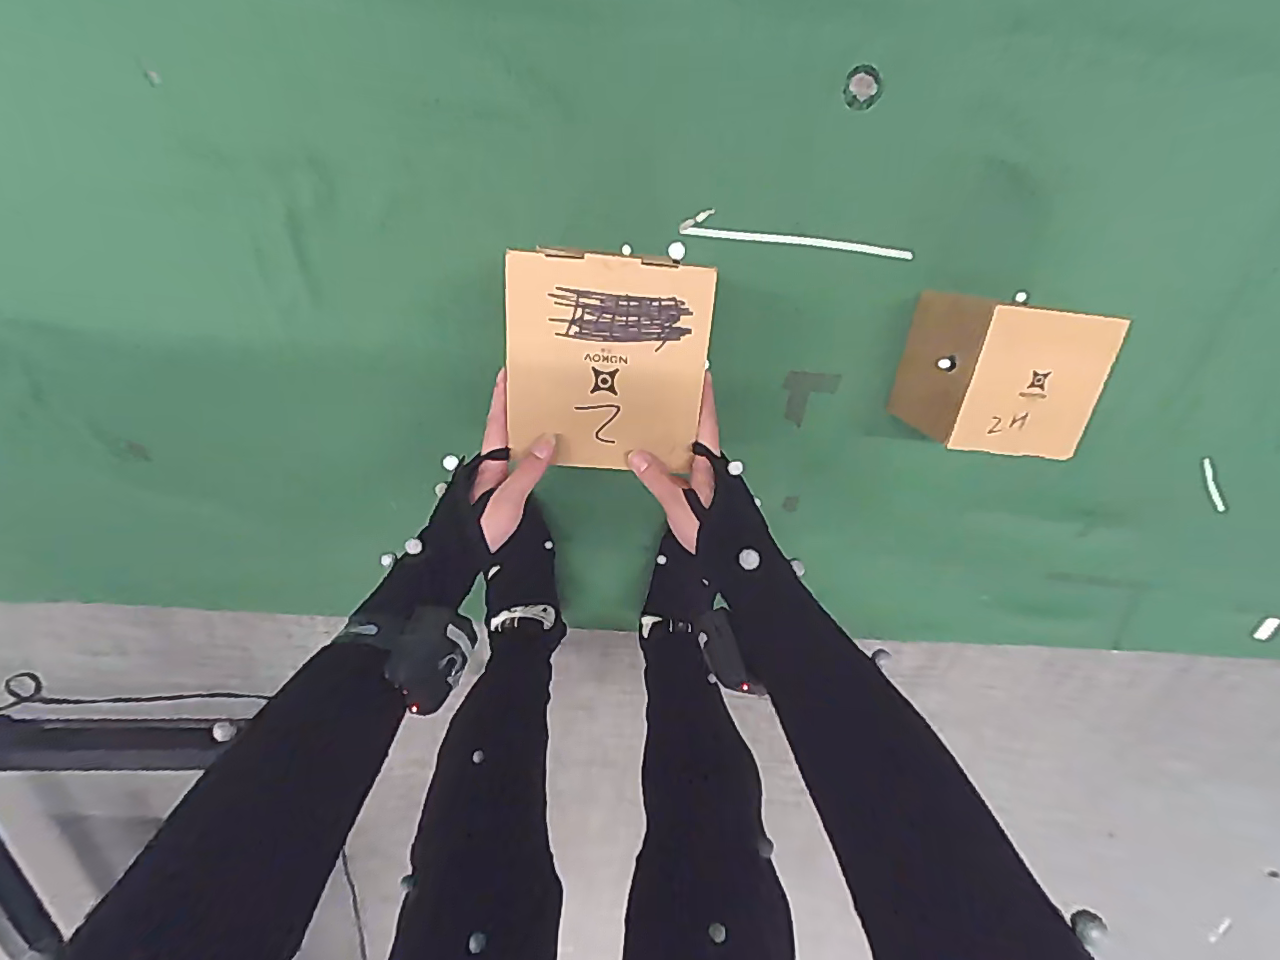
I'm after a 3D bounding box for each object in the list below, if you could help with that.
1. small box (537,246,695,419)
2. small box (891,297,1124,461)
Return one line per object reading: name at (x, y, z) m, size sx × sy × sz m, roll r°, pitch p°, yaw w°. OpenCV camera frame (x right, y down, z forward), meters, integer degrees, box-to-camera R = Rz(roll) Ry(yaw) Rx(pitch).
small box at (-0.033, -0.190, 0.682) m, size 0.168 × 0.176 × 0.179 m, roll 5°, pitch 112°, yaw -5°
small box at (0.467, -0.142, 0.723) m, size 0.168 × 0.176 × 0.179 m, roll 6°, pitch 113°, yaw -5°
